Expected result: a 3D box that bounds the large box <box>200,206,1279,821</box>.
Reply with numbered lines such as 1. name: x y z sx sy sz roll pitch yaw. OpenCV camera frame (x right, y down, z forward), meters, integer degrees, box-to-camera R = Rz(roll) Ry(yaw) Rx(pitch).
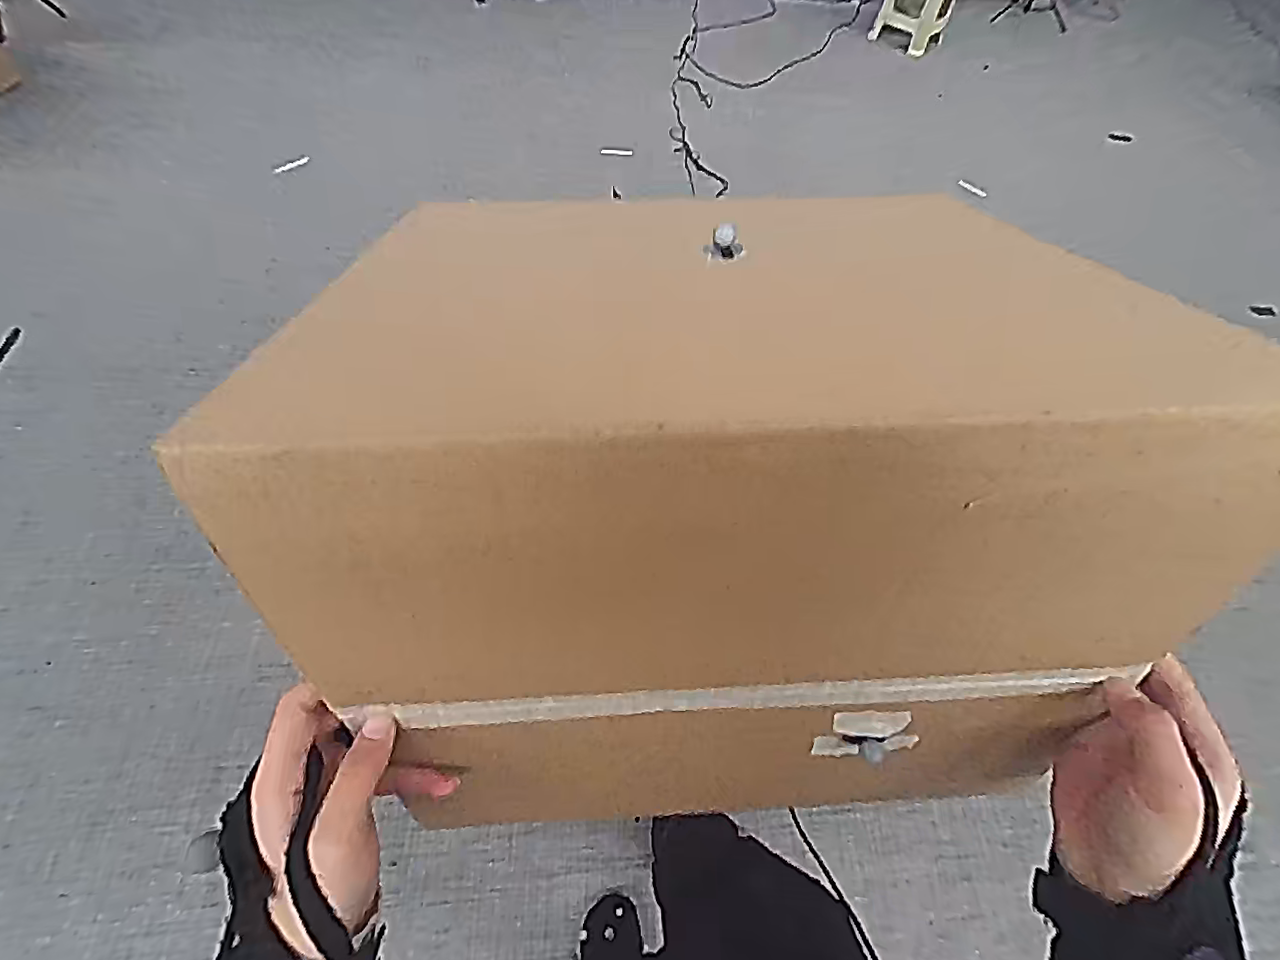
1. large box: 0.041 0.007 0.394 0.408 0.320 0.320 -3 40 -2
